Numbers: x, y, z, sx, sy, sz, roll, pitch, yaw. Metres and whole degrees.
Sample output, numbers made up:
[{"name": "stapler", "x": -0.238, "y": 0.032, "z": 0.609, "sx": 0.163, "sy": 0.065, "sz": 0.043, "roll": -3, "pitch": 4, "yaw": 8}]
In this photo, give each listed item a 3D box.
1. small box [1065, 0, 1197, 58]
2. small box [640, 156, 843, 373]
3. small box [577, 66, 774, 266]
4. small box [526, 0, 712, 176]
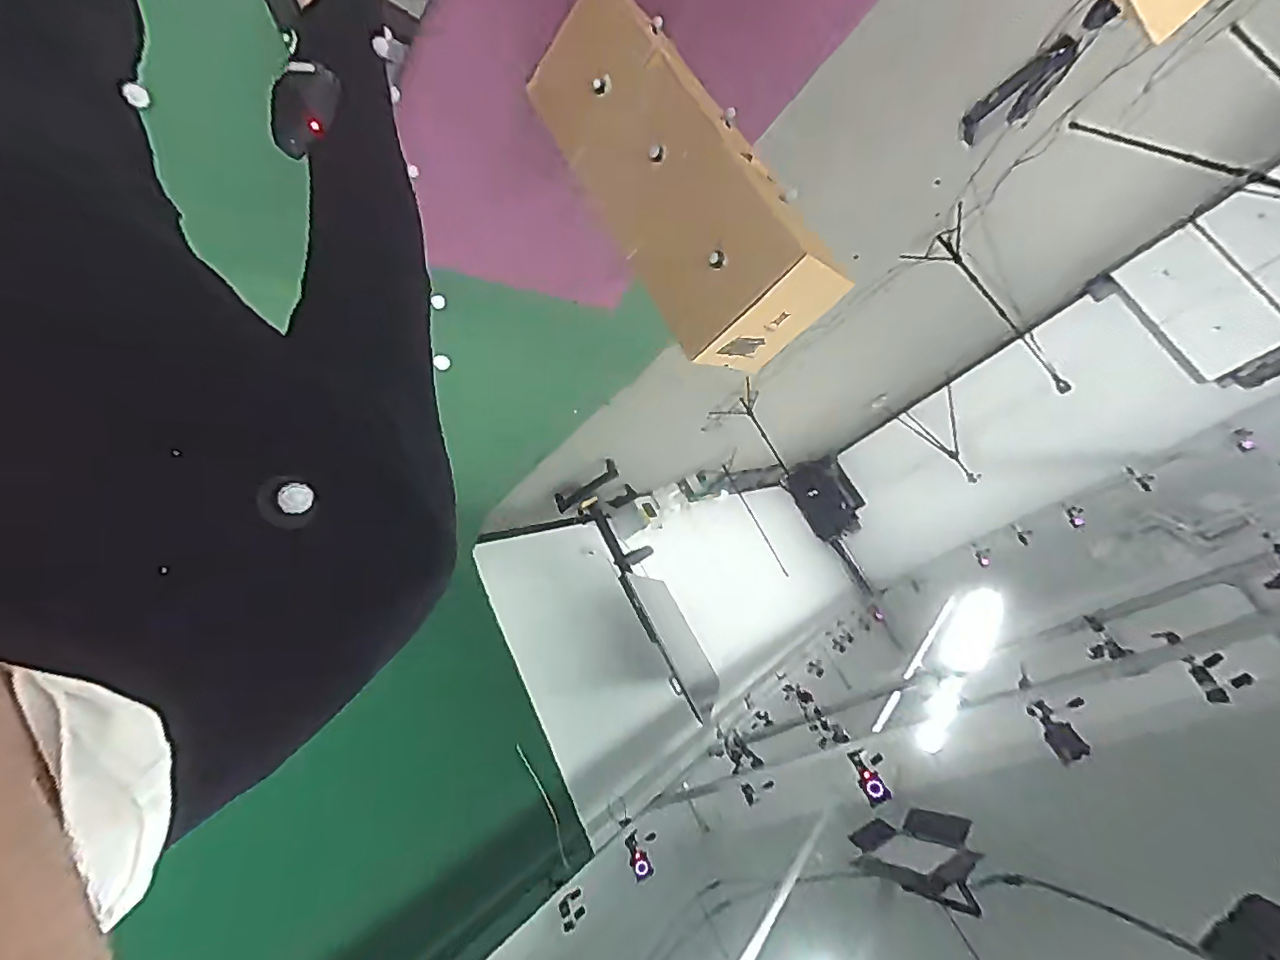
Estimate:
[{"name": "small box", "x": 0.431, "y": -0.514, "z": 0.447, "sx": 0.168, "sy": 0.176, "sz": 0.179, "roll": -15, "pitch": 160, "yaw": -39}, {"name": "small box", "x": 0.122, "y": -0.265, "z": 0.700, "sx": 0.179, "sy": 0.176, "sz": 0.168, "roll": -40, "pitch": 161, "yaw": 32}, {"name": "small box", "x": 0.044, "y": -0.405, "z": 0.740, "sx": 0.179, "sy": 0.176, "sz": 0.168, "roll": -40, "pitch": 161, "yaw": 31}, {"name": "small box", "x": -0.034, "y": -0.542, "z": 0.781, "sx": 0.179, "sy": 0.176, "sz": 0.168, "roll": -38, "pitch": 162, "yaw": 30}]
